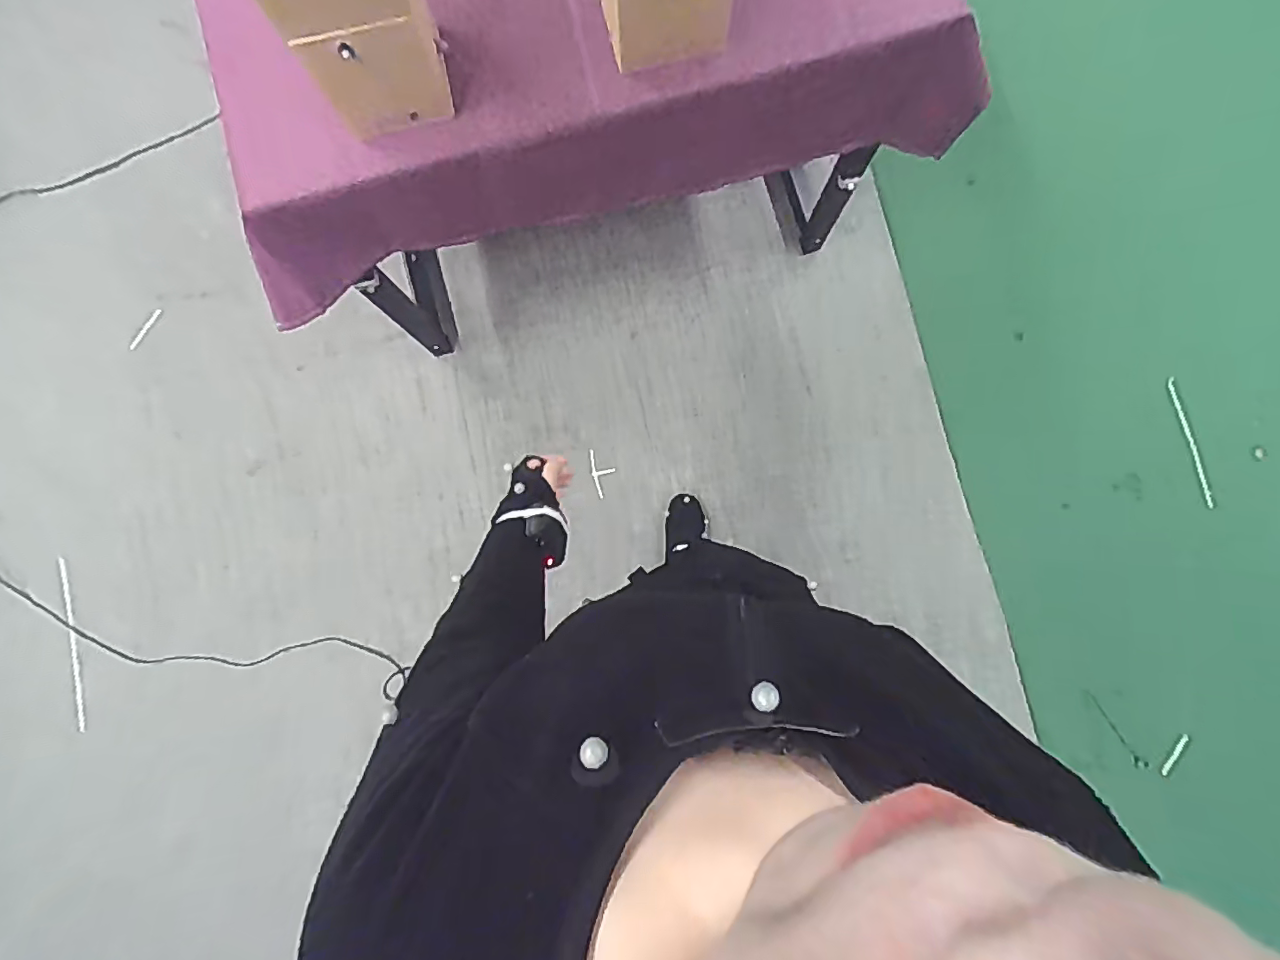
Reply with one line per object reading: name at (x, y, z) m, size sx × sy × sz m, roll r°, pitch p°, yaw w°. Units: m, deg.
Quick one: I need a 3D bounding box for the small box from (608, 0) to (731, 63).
small box at (0.036, -0.760, 0.790) m, size 0.179 × 0.176 × 0.168 m, roll -13°, pitch 84°, yaw -1°

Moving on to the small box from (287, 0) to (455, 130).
small box at (-0.388, -0.661, 0.786) m, size 0.168 × 0.176 × 0.179 m, roll -13°, pitch 83°, yaw 0°

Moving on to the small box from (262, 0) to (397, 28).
small box at (-0.391, -0.679, 0.623) m, size 0.179 × 0.176 × 0.168 m, roll -11°, pitch 83°, yaw 0°
